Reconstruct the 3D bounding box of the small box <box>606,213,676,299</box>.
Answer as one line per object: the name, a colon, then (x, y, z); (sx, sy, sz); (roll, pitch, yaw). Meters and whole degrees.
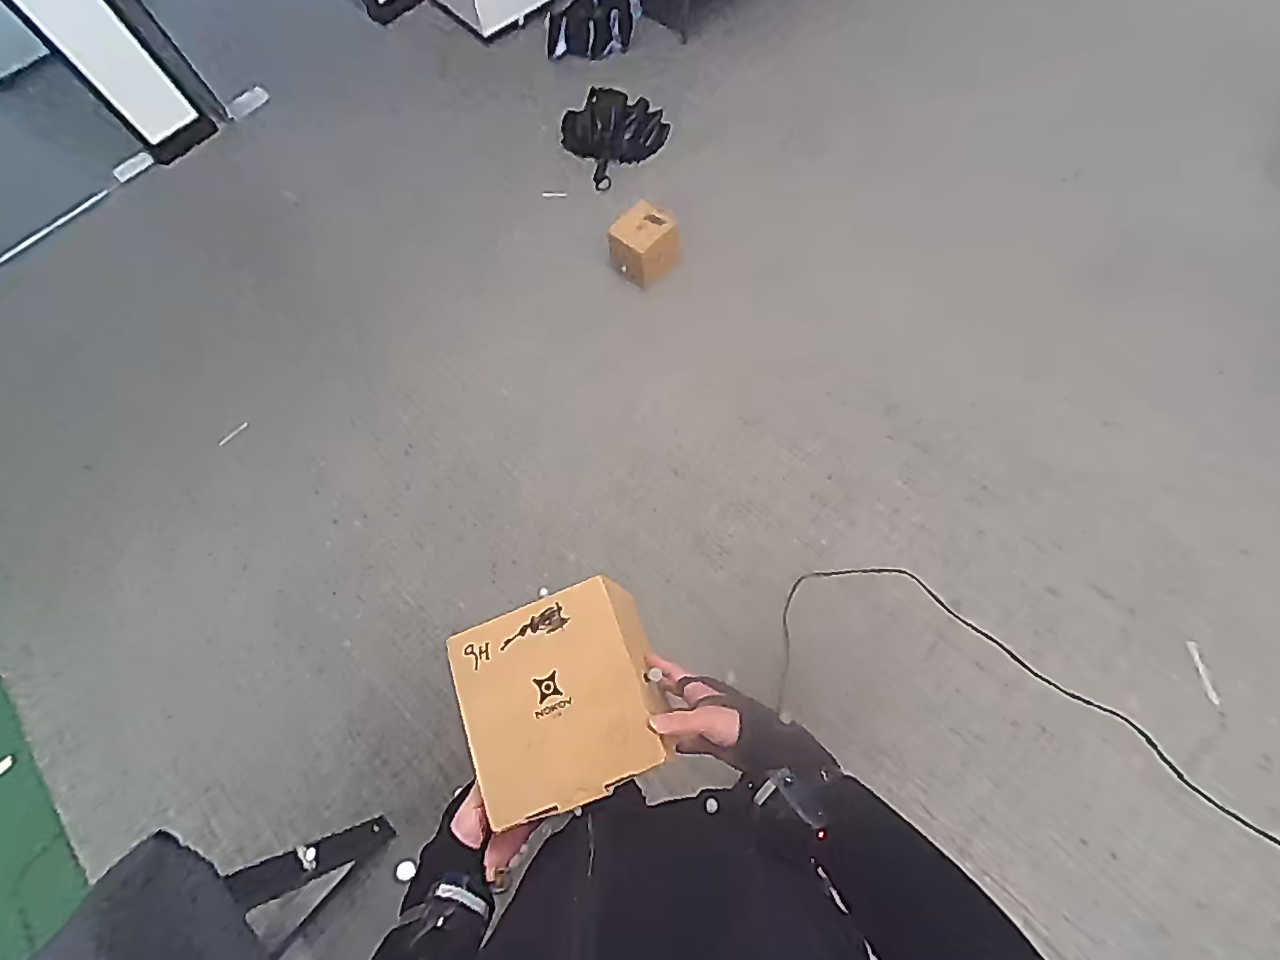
small box: (0.010, -0.766, 1.857); (0.168, 0.176, 0.179); (40, 78, 20)
